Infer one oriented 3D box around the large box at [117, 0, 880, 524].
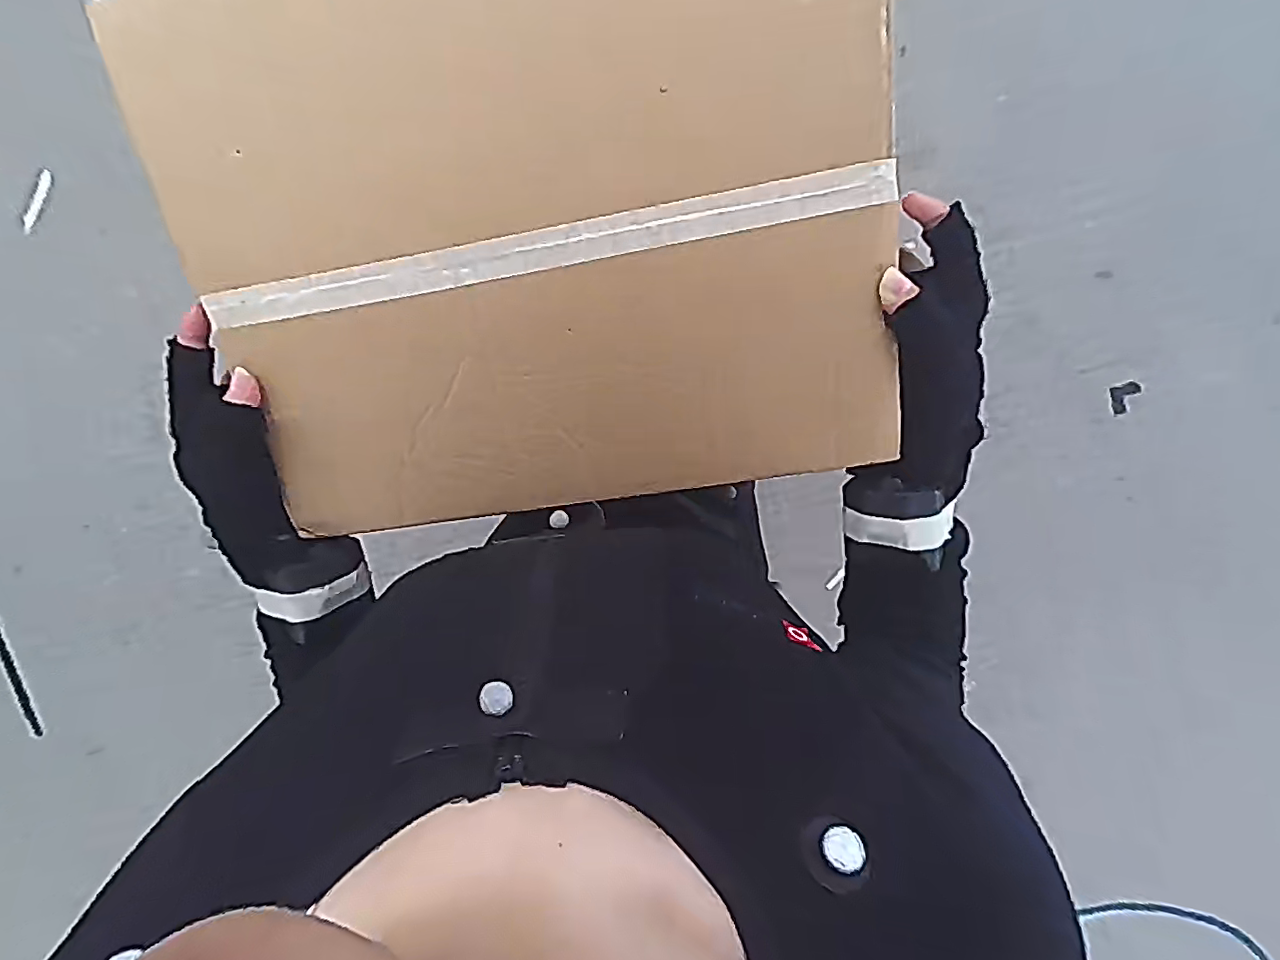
[{"bbox_3d":[-0.057,-0.189,0.459,0.408,0.320,0.320,-8,108,7],"label":"large box"}]
